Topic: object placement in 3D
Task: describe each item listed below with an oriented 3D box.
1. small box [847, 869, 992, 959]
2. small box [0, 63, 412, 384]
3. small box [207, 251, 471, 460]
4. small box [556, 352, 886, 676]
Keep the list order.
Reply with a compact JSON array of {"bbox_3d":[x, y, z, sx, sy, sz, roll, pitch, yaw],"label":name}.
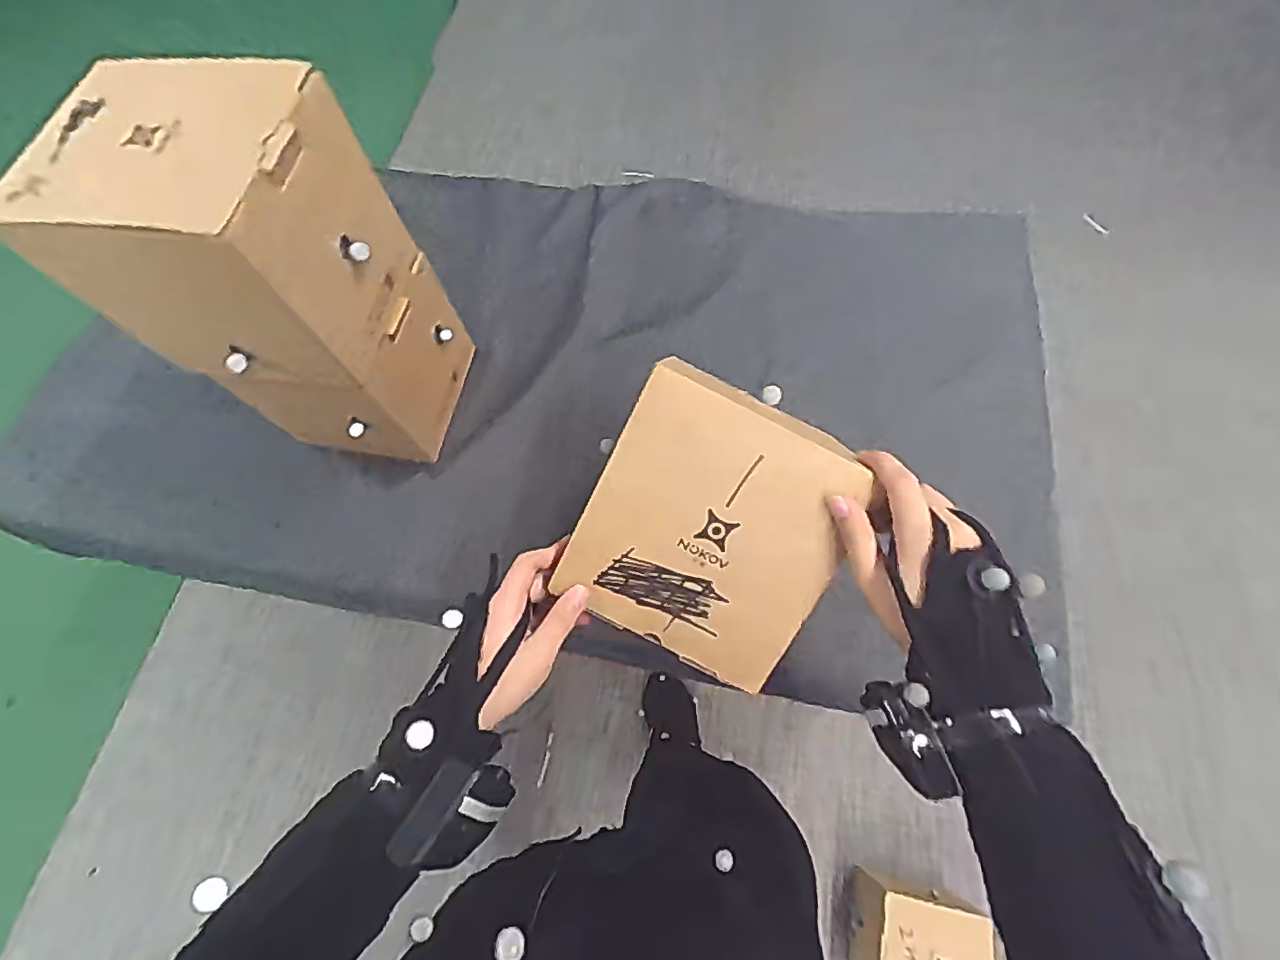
[{"bbox_3d":[0.482,0.814,0.946,0.179,0.176,0.168,10,67,7],"label":"small box"},{"bbox_3d":[-0.317,-0.195,0.442,0.179,0.176,0.168,6,66,4],"label":"small box"},{"bbox_3d":[-0.309,-0.135,0.595,0.179,0.176,0.168,8,66,7],"label":"small box"},{"bbox_3d":[0.056,0.012,0.438,0.168,0.176,0.179,26,104,-2],"label":"small box"}]
